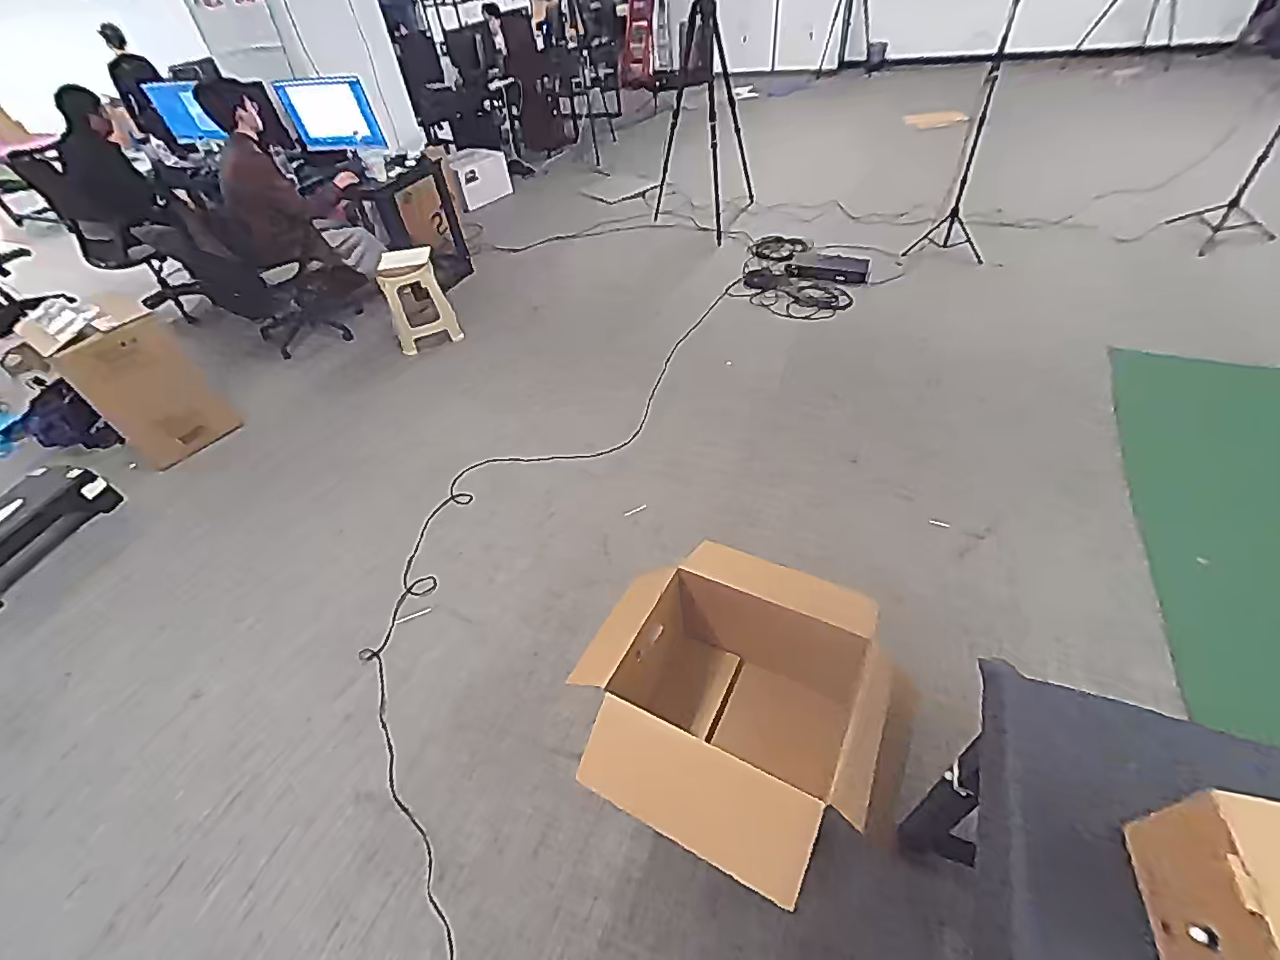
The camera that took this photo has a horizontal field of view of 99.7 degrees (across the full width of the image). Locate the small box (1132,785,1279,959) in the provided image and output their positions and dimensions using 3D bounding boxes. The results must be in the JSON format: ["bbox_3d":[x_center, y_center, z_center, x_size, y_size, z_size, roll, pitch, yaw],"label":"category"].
[{"bbox_3d":[0.649,0.436,0.541,0.179,0.176,0.168,8,48,13],"label":"small box"}]
